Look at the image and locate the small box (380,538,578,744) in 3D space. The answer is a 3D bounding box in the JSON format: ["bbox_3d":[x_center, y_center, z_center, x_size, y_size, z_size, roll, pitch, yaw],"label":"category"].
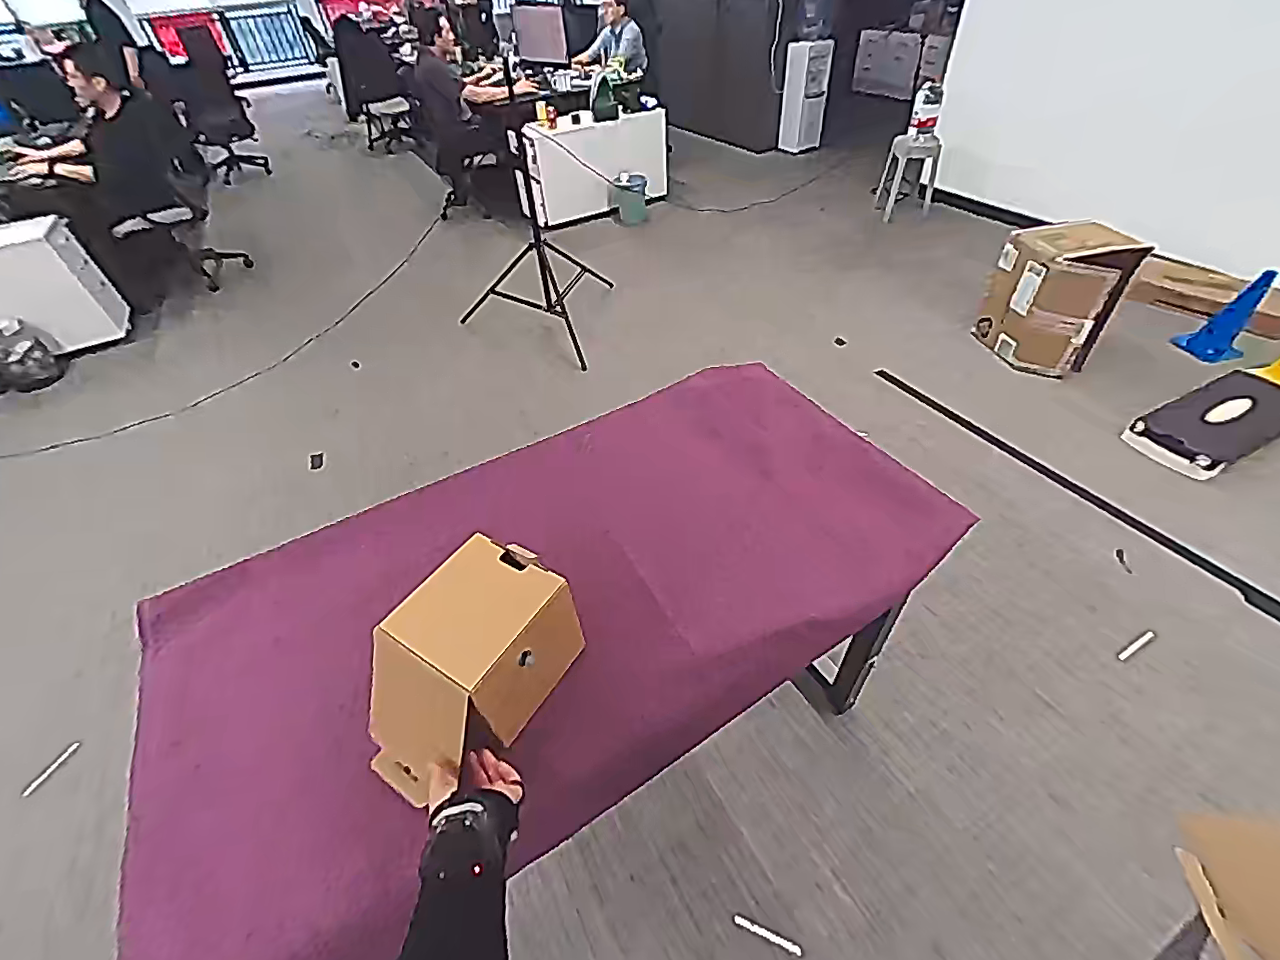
[{"bbox_3d":[-0.202,0.218,0.732,0.168,0.176,0.179,22,50,26],"label":"small box"}]
